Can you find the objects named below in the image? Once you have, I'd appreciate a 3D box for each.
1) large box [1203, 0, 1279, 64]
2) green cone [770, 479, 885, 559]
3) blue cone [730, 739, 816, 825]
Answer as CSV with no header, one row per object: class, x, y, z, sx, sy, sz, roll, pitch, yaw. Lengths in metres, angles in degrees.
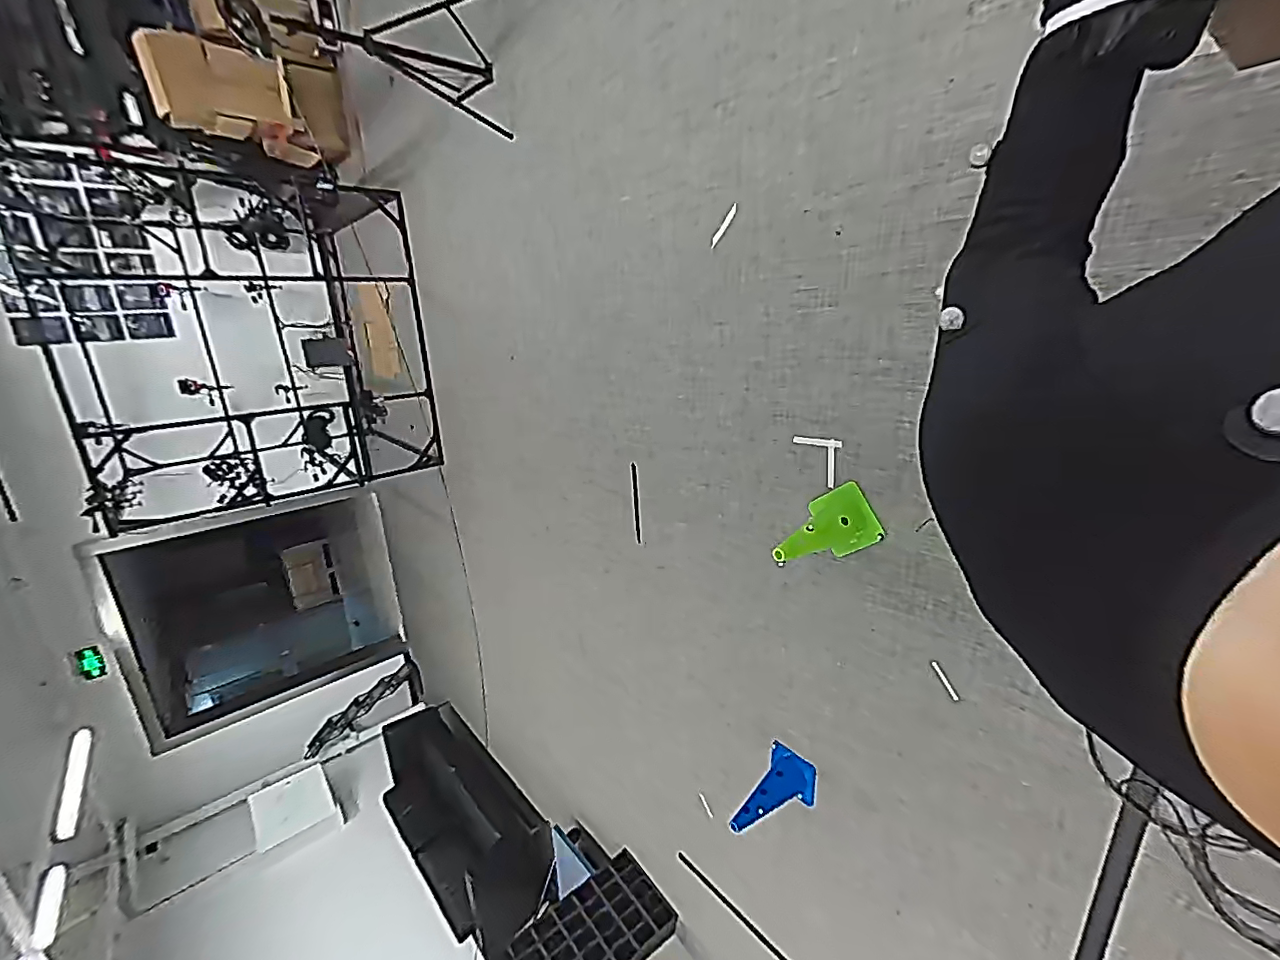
large box,0.555,-0.449,0.223,0.408,0.320,0.320,16,120,47
green cone,0.518,0.155,1.601,0.202,0.368,0.200,-42,69,51
blue cone,0.489,1.190,2.057,0.192,0.380,0.193,22,119,47
